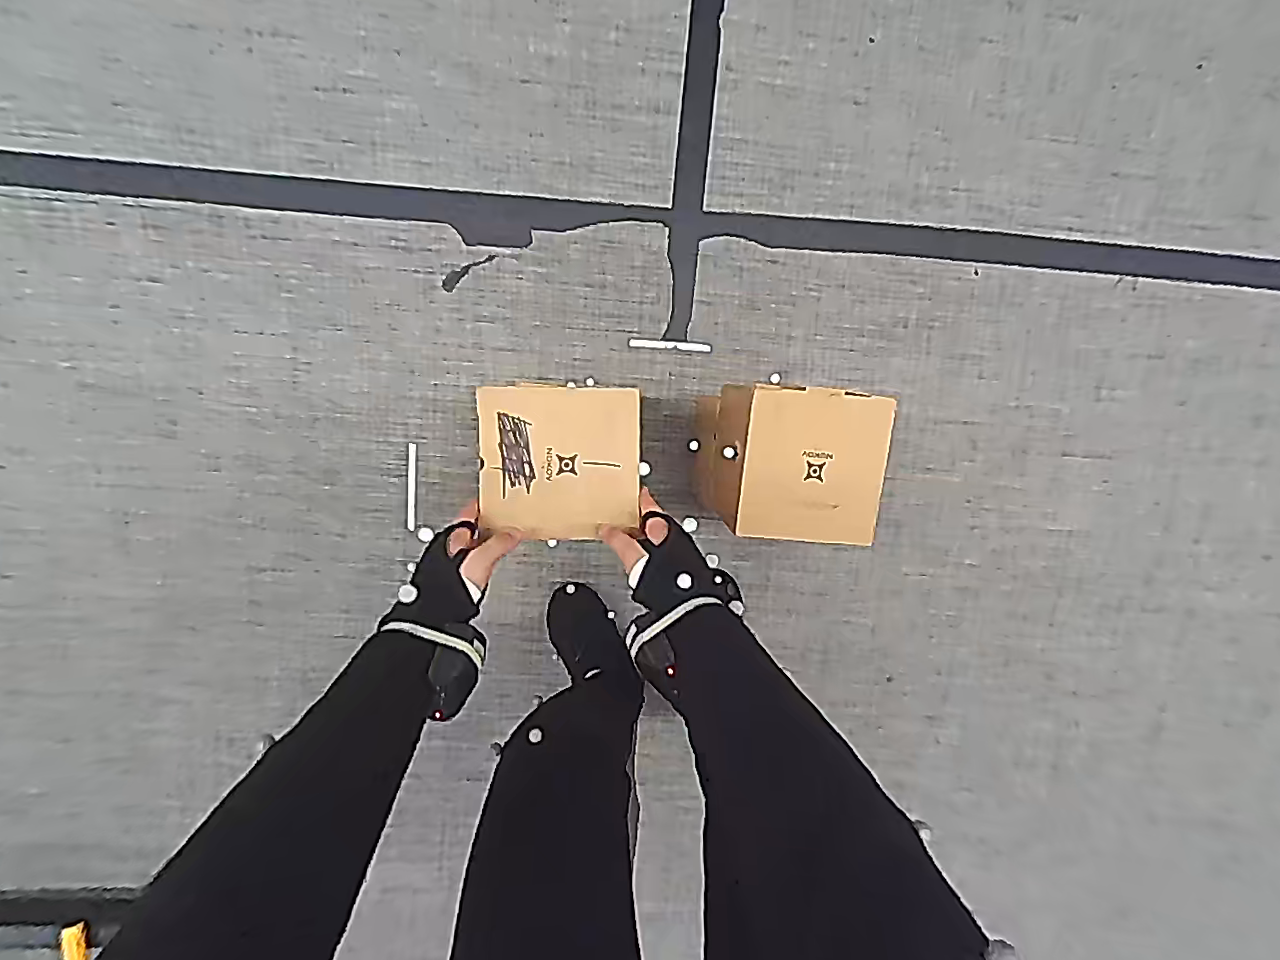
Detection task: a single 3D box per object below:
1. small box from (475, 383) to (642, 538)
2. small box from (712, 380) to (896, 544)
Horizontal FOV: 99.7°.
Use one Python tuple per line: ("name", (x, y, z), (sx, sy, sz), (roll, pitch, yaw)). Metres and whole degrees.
("small box", (-0.088, -0.019, 0.649), (0.179, 0.176, 0.168), (-1, 90, -3))
("small box", (0.192, -0.031, 0.685), (0.168, 0.176, 0.179), (4, 101, -4))
